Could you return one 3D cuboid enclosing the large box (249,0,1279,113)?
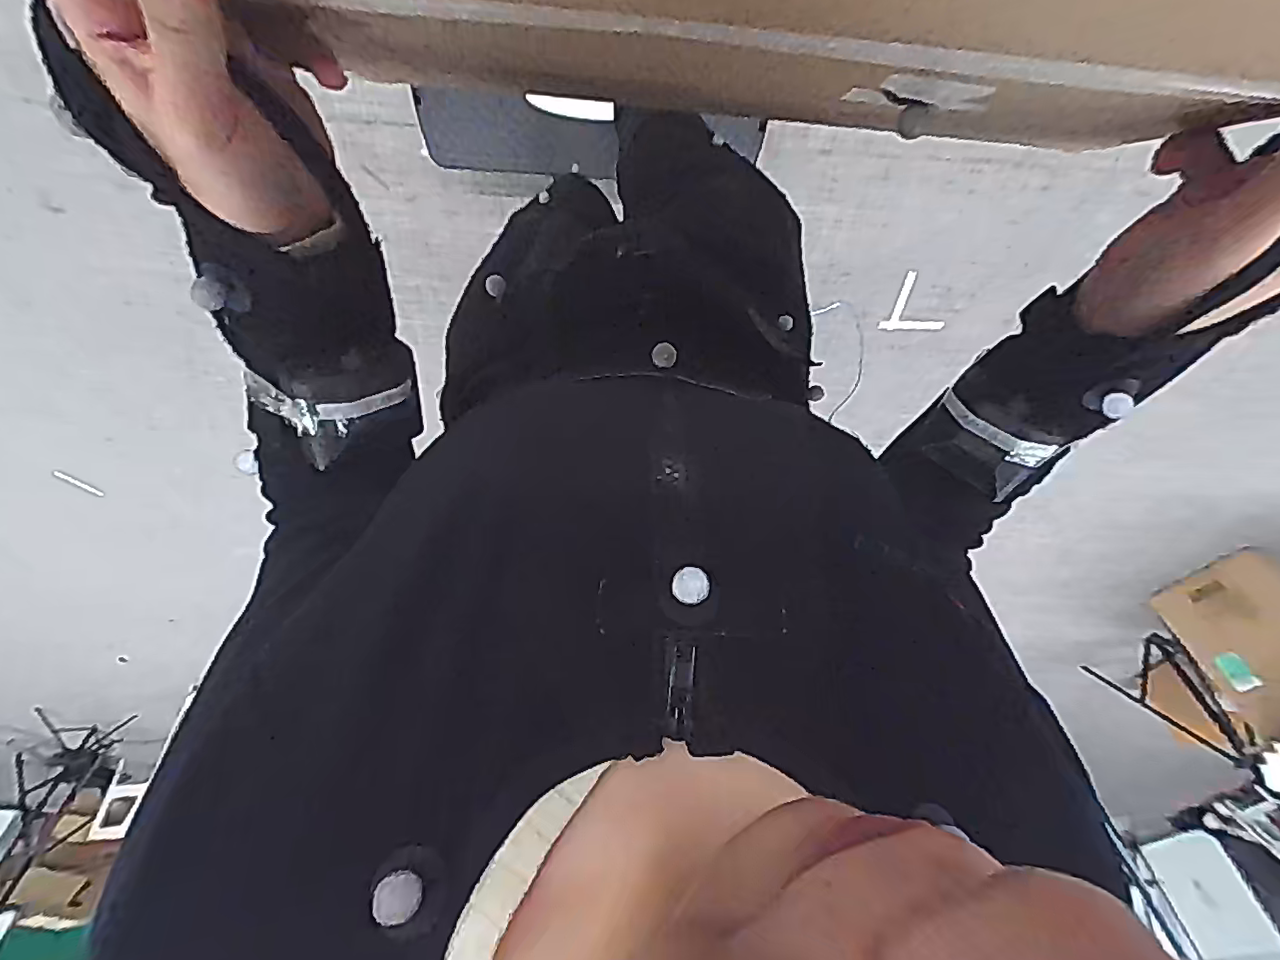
[{"bbox_3d":[0.053,-0.287,0.092,0.408,0.320,0.320,4,116,-1],"label":"large box"}]
